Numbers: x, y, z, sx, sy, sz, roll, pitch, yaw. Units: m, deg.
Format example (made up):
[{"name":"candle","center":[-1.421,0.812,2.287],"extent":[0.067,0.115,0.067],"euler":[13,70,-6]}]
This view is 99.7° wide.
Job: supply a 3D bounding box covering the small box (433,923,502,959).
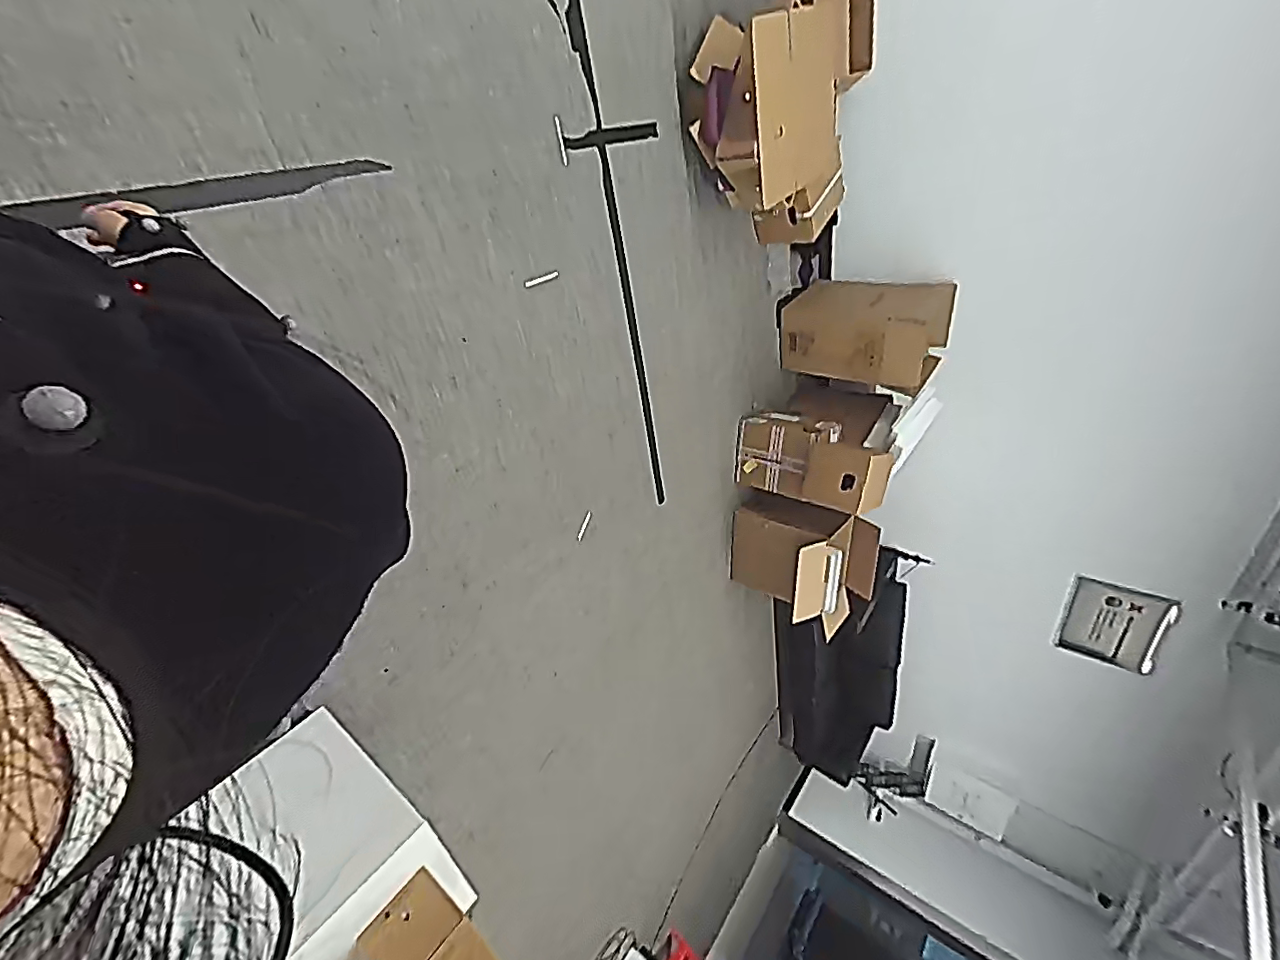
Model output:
[{"name":"small box","center":[-0.348,1.062,1.102],"extent":[0.168,0.176,0.179],"euler":[-39,133,-37]}]
